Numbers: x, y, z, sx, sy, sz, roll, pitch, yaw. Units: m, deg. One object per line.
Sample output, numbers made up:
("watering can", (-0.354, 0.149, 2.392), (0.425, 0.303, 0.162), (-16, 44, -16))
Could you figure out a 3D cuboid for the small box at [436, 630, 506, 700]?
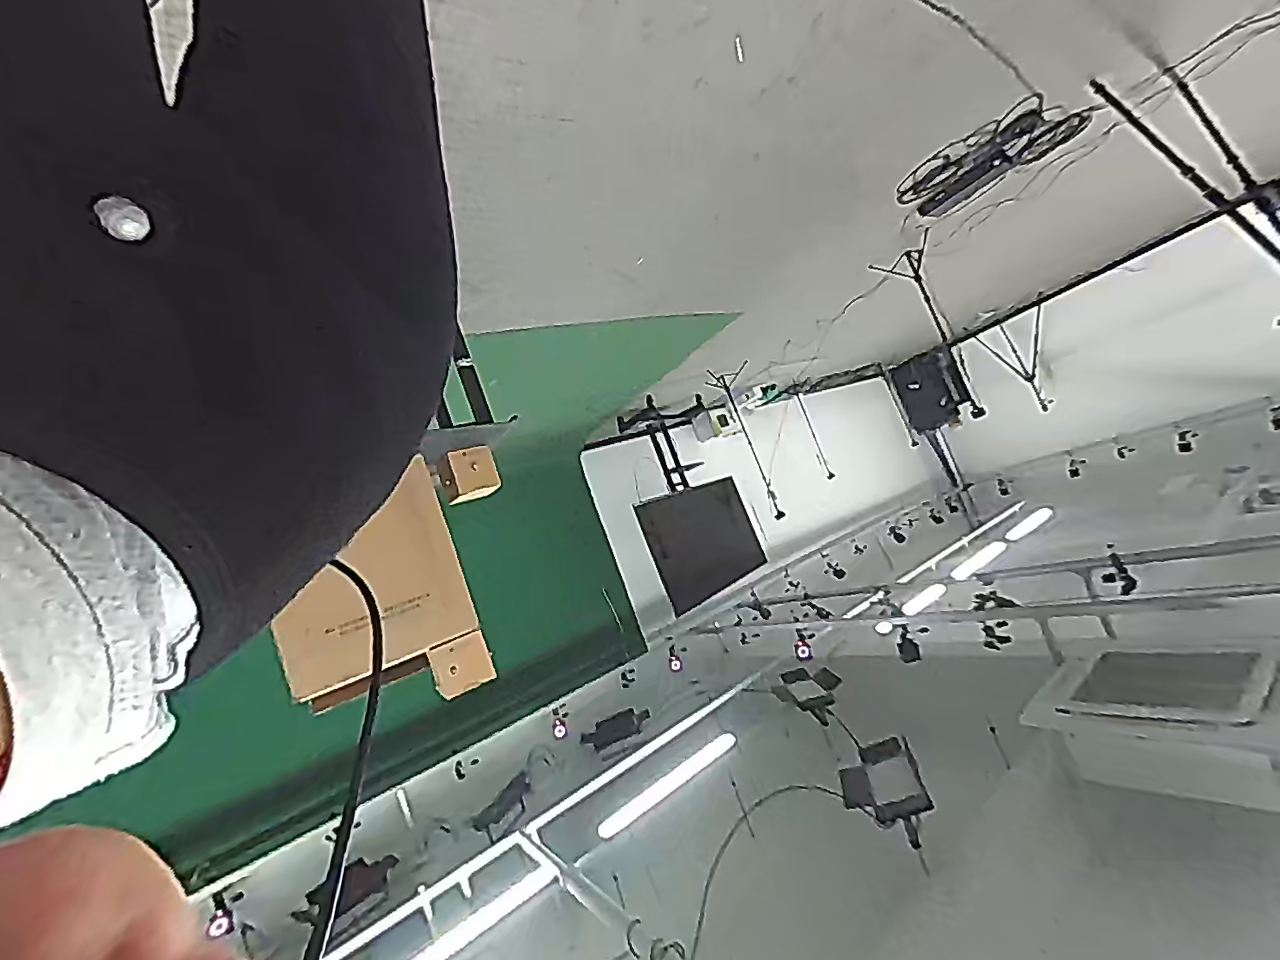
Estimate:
("small box", (-0.570, 0.611, 1.808), (0.168, 0.176, 0.179), (-18, 175, -28))
